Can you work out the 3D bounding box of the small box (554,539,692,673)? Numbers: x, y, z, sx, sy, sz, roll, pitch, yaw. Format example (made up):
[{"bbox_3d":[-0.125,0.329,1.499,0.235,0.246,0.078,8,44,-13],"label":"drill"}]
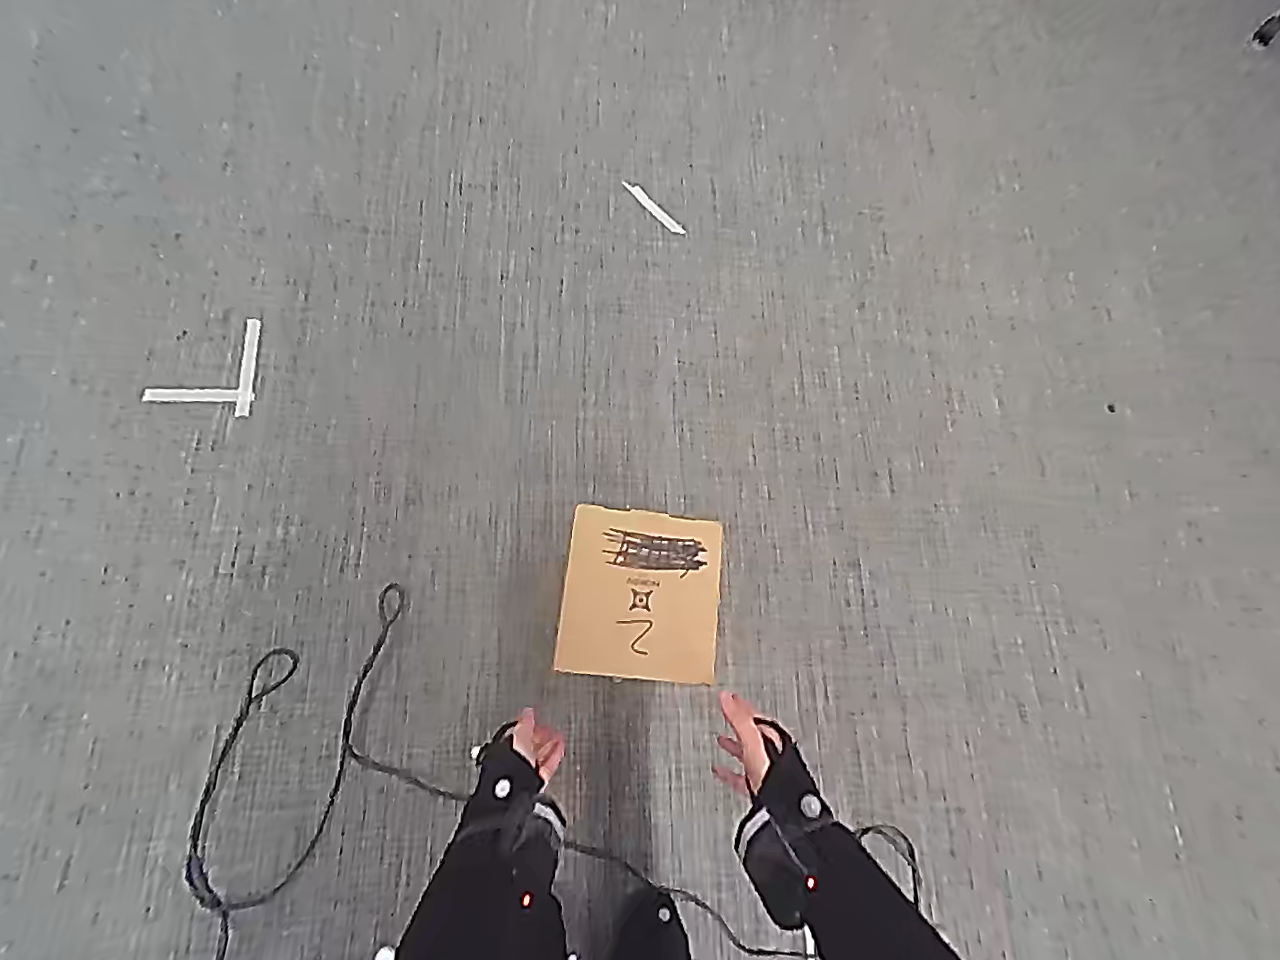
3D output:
[{"bbox_3d":[-0.029,0.189,0.798,0.179,0.176,0.168,7,73,-7],"label":"small box"}]
